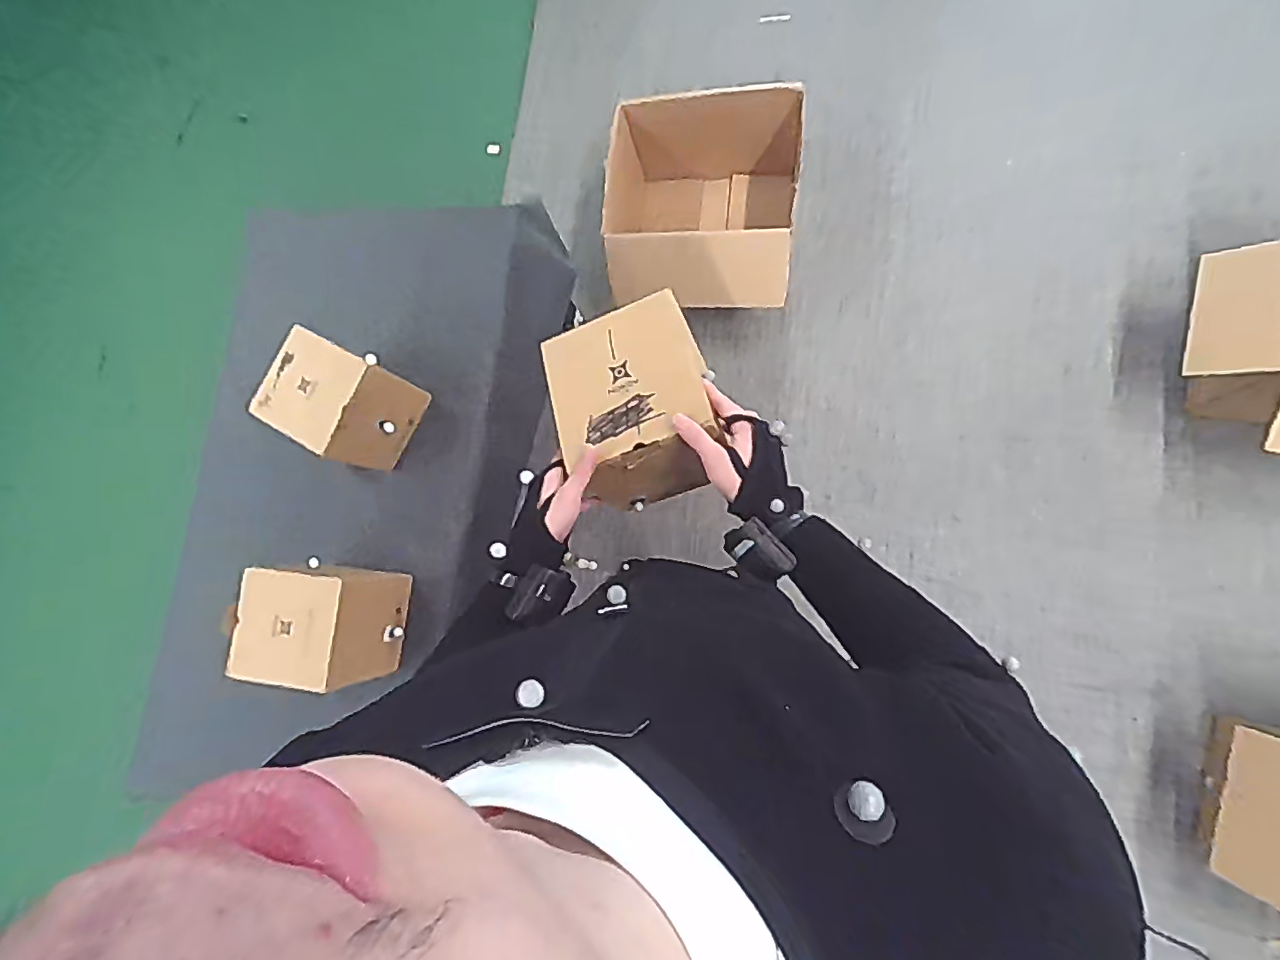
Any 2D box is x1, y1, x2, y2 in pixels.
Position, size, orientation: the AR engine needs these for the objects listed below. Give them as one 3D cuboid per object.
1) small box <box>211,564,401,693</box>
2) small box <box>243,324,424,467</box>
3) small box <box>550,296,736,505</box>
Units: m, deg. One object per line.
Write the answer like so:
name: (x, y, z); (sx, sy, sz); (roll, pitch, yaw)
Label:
small box: (-0.516, 0.225, 0.857); (0.179, 0.176, 0.168); (3, 82, 12)
small box: (-0.515, -0.135, 0.934); (0.179, 0.176, 0.168); (28, 87, 14)
small box: (0.010, -0.081, 0.660); (0.168, 0.176, 0.179); (-18, 67, 11)
